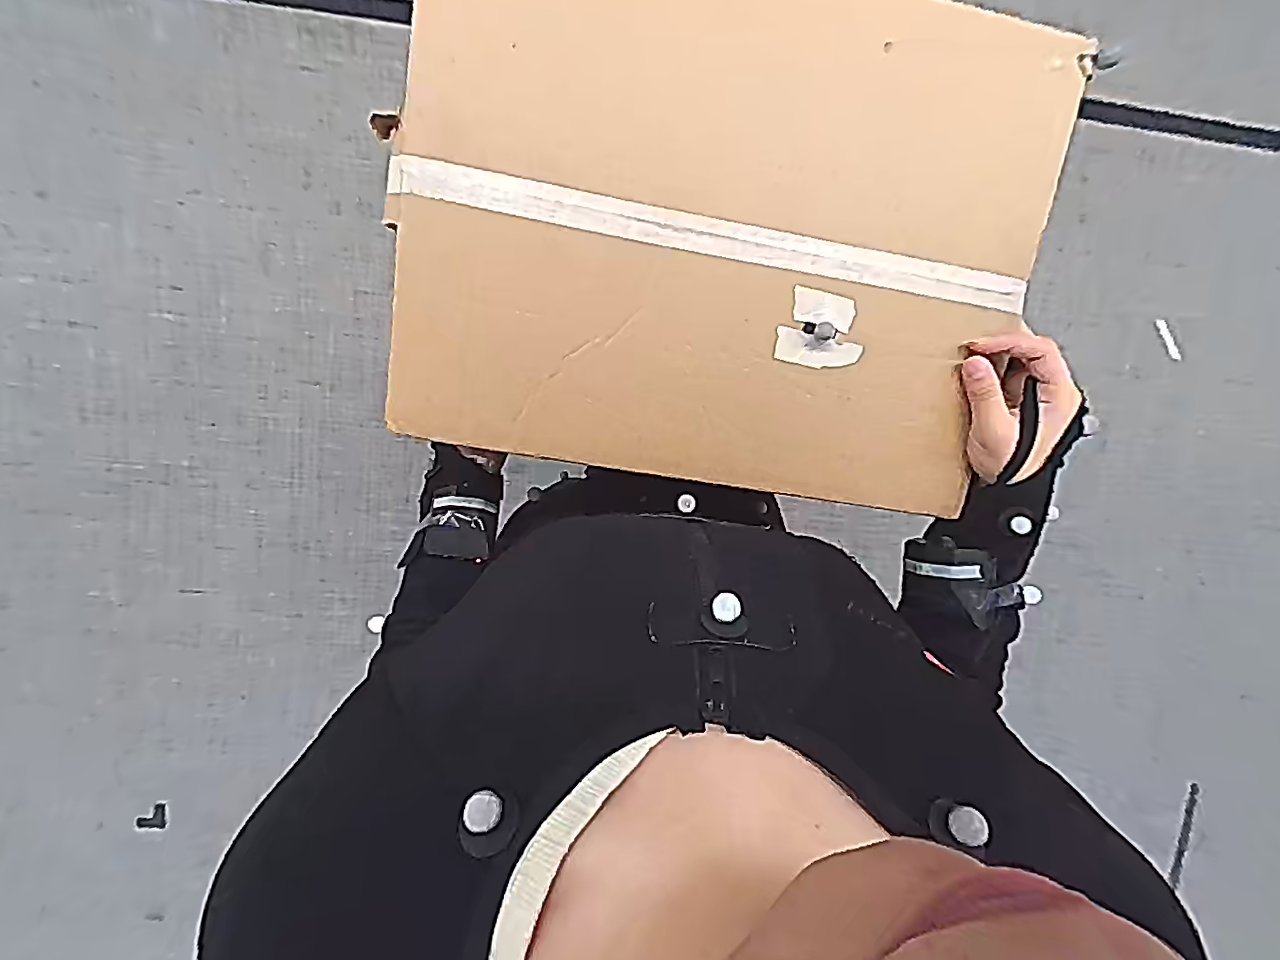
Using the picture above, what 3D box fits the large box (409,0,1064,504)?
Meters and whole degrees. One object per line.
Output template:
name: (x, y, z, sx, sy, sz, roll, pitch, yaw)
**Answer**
large box: (0.045, -0.182, 0.498, 0.408, 0.320, 0.320, 8, 102, -8)
